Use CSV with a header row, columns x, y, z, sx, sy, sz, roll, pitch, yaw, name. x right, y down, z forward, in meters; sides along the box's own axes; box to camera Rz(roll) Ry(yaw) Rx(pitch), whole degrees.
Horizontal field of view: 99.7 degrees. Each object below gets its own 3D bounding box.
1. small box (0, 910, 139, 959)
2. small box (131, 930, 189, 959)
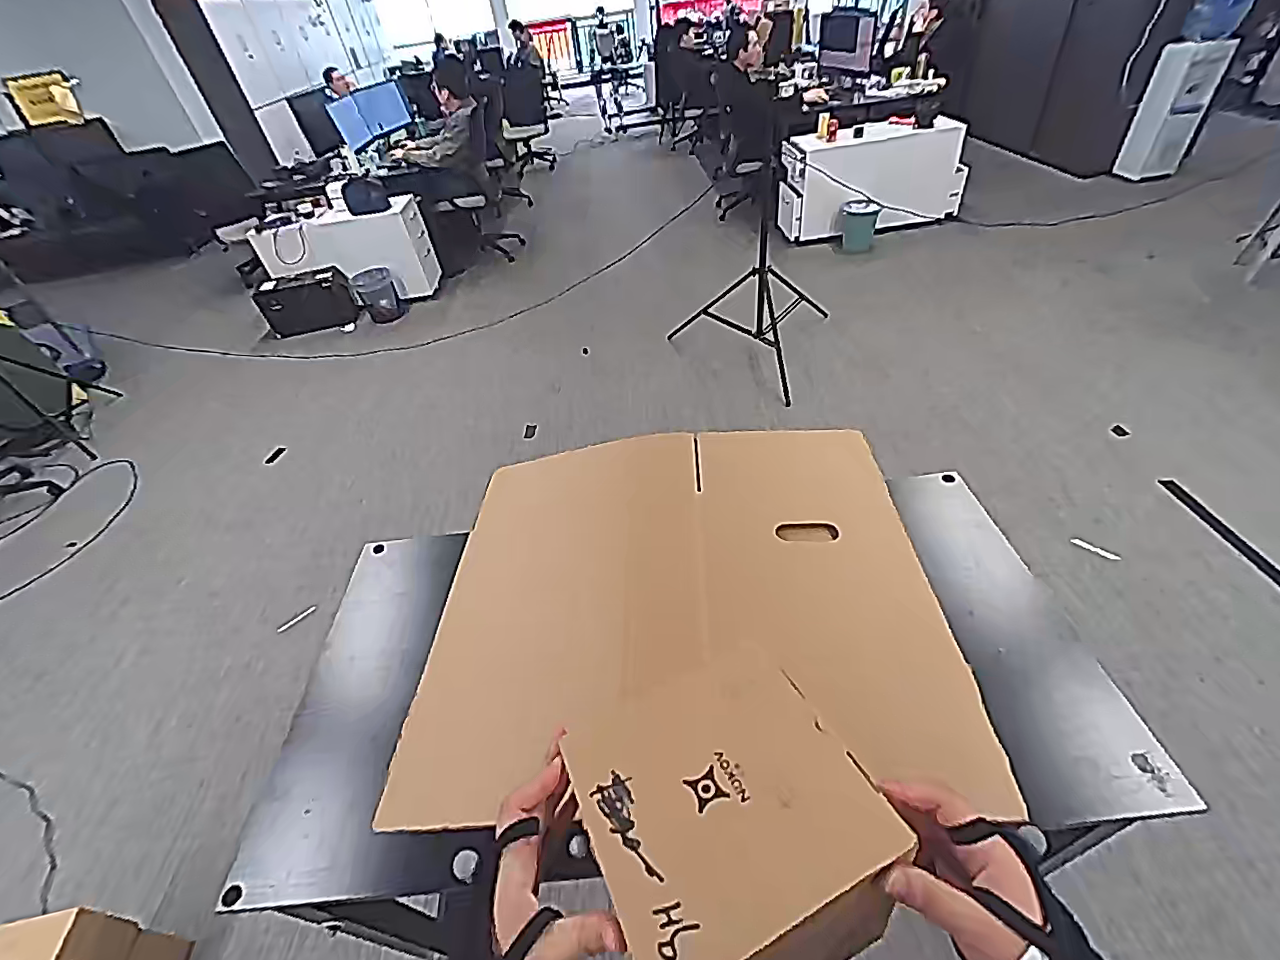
x,y,z,sx,sy,sz,roll,pitch,yaw,name
-1.137,0.968,1.040,0.168,0.176,0.179,-11,41,-3,small box
-1.116,1.092,1.145,0.168,0.176,0.179,-10,43,-1,small box
